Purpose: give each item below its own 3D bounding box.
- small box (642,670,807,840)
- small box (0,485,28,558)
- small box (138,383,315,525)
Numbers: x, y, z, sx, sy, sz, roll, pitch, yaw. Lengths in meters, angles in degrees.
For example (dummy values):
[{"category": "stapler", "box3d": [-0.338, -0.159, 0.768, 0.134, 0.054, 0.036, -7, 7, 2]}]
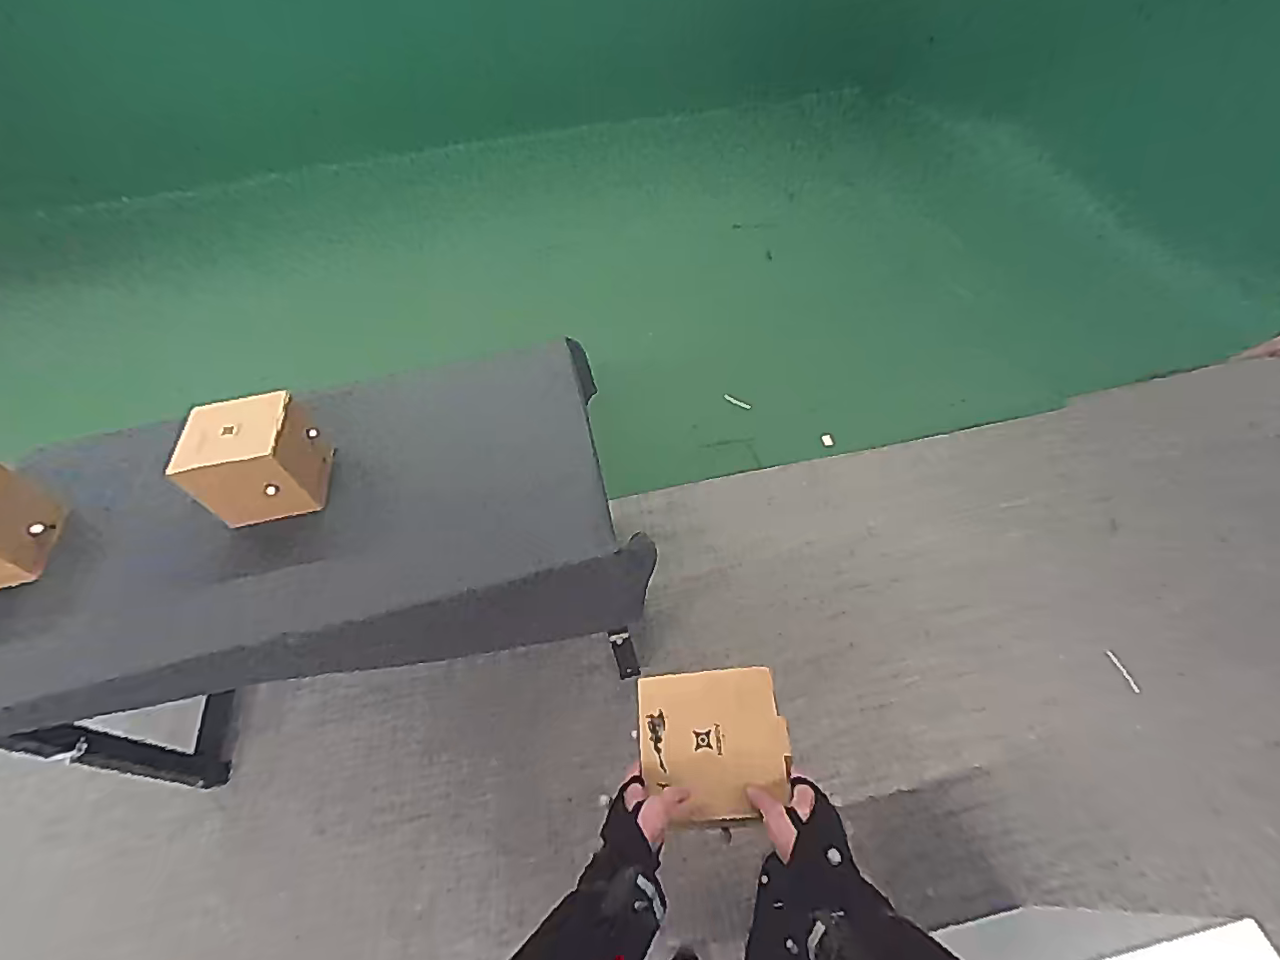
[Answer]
[{"category": "small box", "box3d": [0.099, 0.357, 0.696, 0.179, 0.176, 0.168, -6, 52, 4]}, {"category": "small box", "box3d": [-1.197, 0.072, 0.882, 0.179, 0.176, 0.168, -13, 53, -10]}, {"category": "small box", "box3d": [-0.714, -0.043, 0.962, 0.179, 0.176, 0.168, -12, 51, -6]}]
